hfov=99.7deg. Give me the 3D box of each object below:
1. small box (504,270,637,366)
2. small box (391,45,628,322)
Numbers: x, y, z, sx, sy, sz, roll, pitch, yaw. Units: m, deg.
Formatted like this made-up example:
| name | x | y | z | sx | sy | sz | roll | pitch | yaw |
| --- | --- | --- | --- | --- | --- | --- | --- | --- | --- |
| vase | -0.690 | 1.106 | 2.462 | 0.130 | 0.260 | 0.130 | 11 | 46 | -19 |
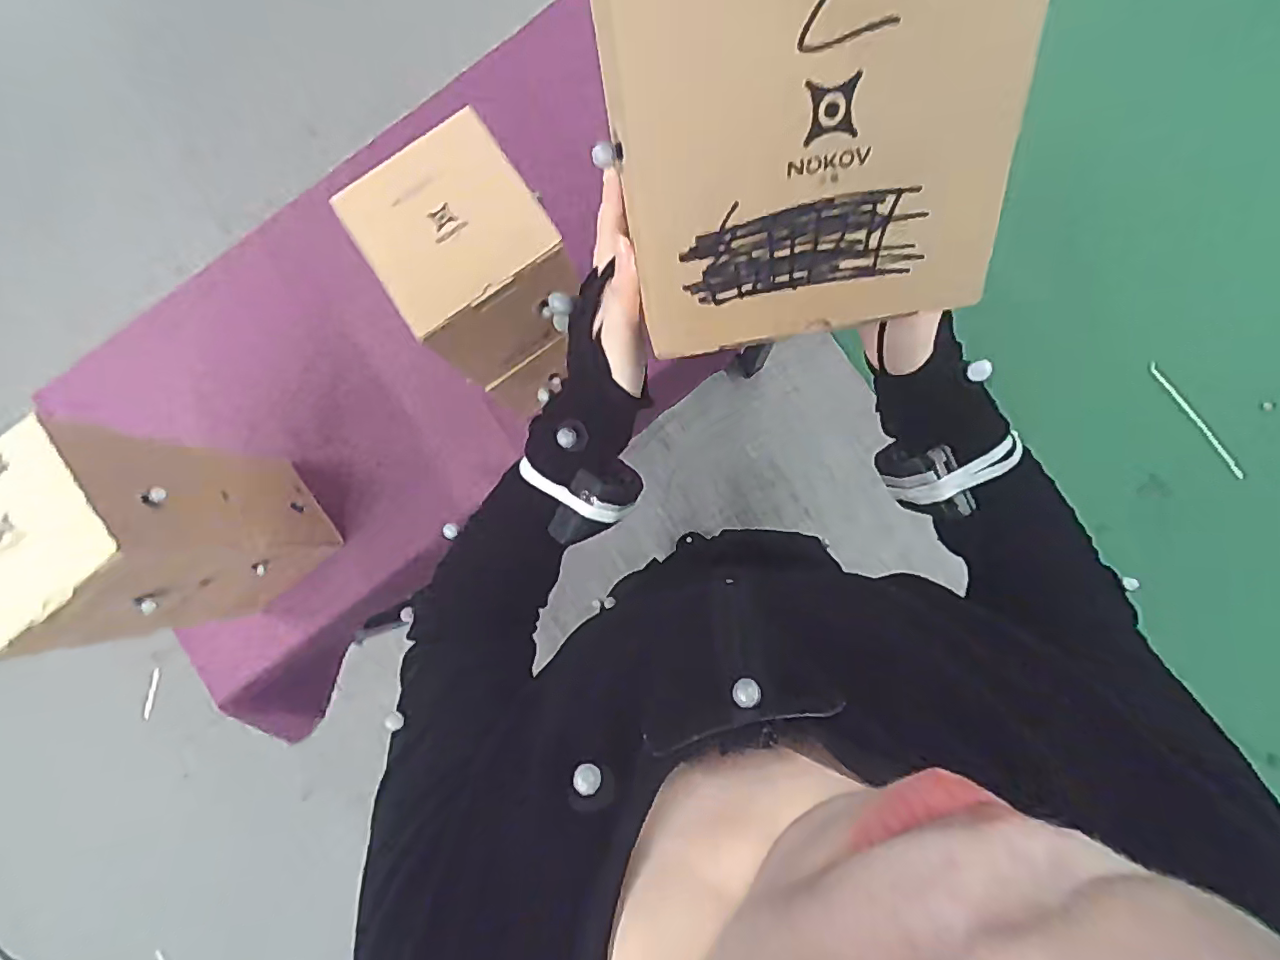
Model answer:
| name | x | y | z | sx | sy | sz | roll | pitch | yaw |
| --- | --- | --- | --- | --- | --- | --- | --- | --- | --- |
| small box | -0.113 | -0.274 | 0.742 | 0.168 | 0.176 | 0.179 | -27 | 84 | 0 |
| small box | -0.122 | -0.292 | 0.580 | 0.168 | 0.176 | 0.179 | -26 | 84 | 1 |
